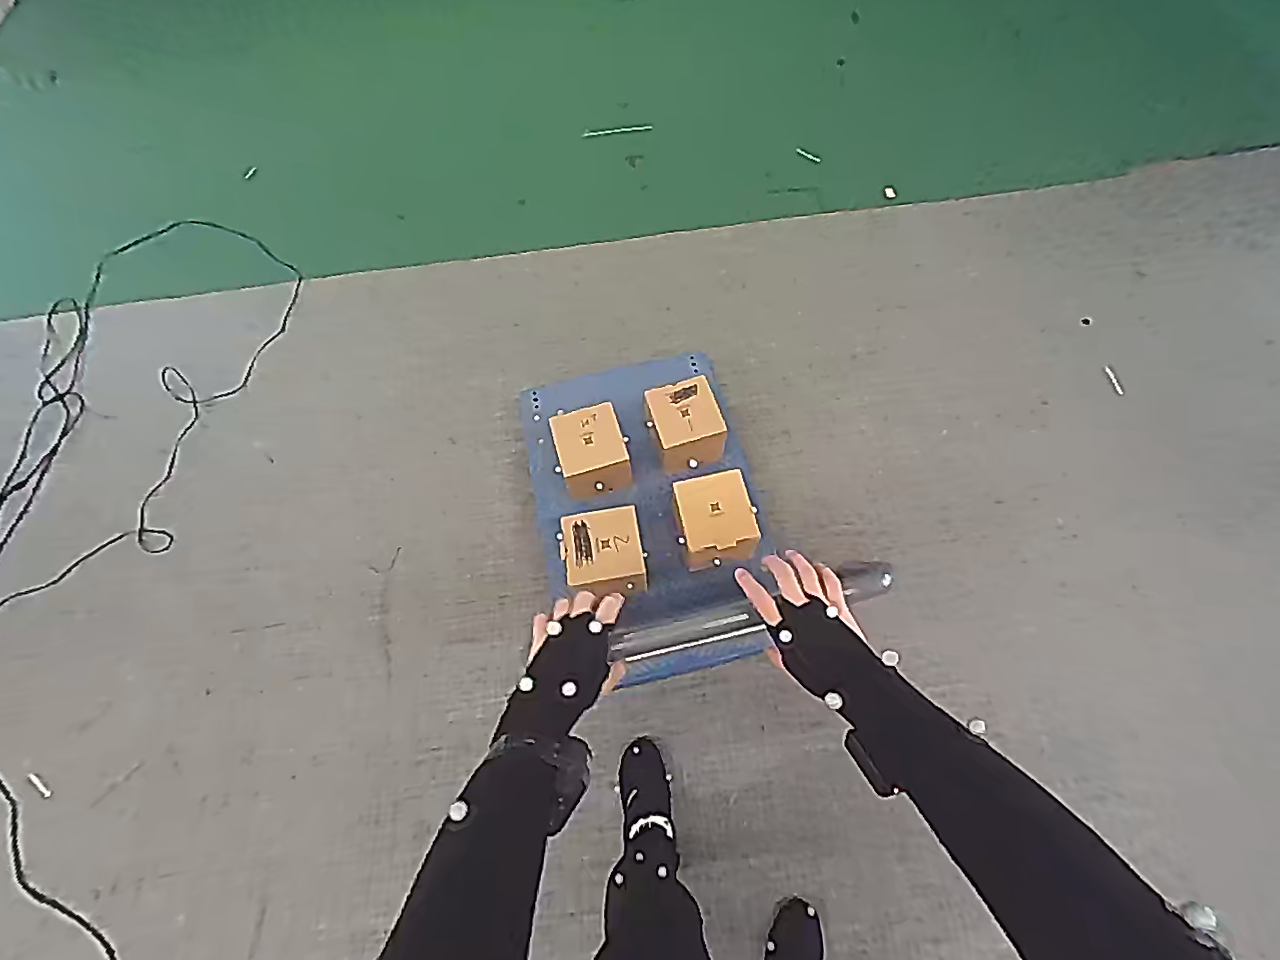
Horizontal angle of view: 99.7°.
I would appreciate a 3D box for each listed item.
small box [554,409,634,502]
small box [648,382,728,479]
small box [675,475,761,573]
[{"bbox_3d":[-0.117,-0.055,1.425,0.168,0.176,0.179,-16,66,-5],"label":"small box"},{"bbox_3d":[0.124,-0.127,1.443,0.168,0.176,0.179,-16,67,-3],"label":"small box"},{"bbox_3d":[0.184,0.112,1.332,0.168,0.176,0.179,-12,66,-2],"label":"small box"}]
